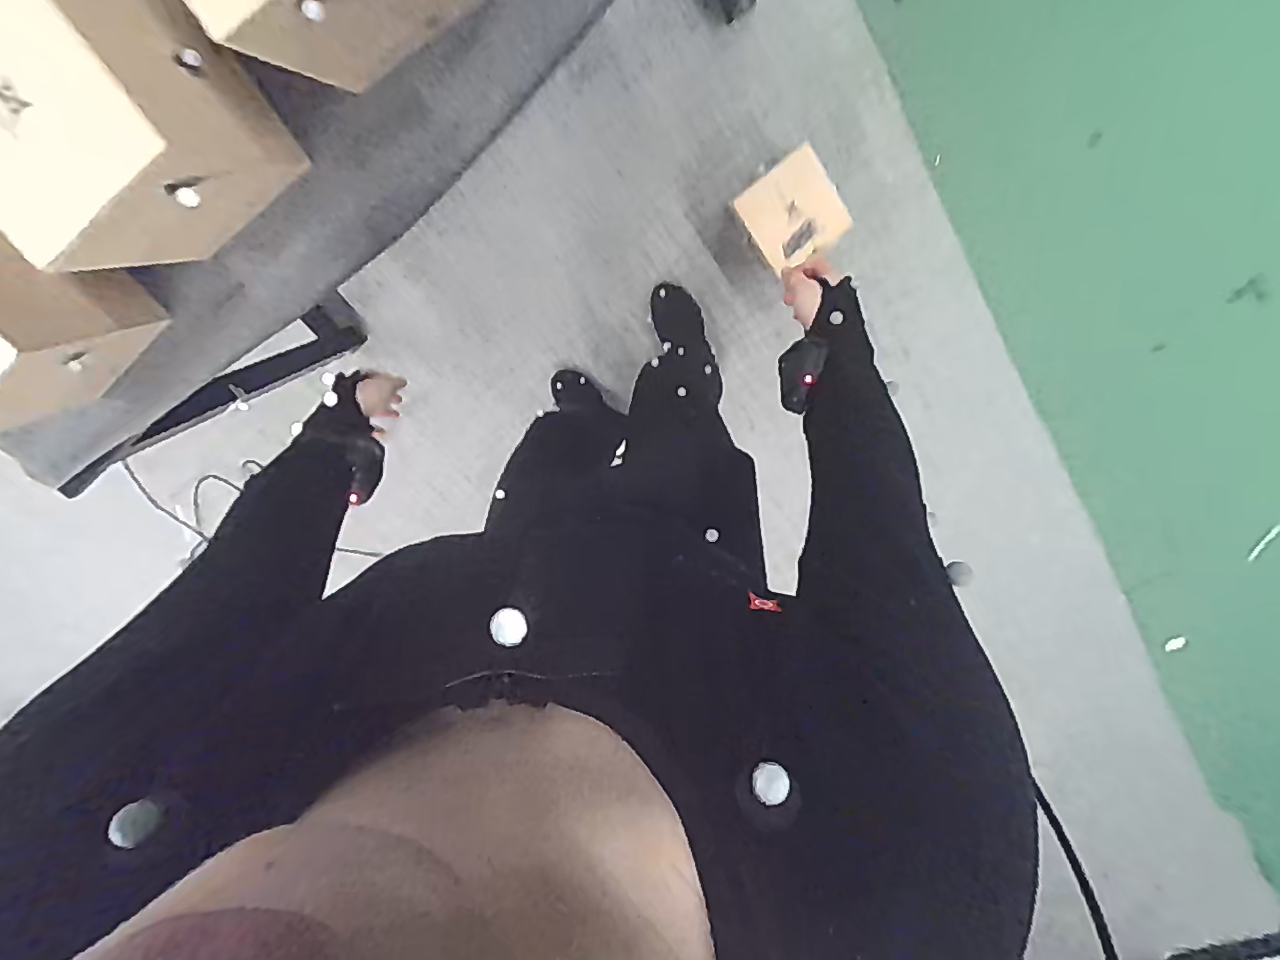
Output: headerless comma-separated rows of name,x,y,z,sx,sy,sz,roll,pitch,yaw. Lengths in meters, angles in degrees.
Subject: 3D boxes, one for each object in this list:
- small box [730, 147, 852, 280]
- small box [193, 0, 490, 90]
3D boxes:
small box,0.299,-0.539,1.100,0.168,0.176,0.179,-33,109,19
small box,-0.237,-0.426,0.383,0.168,0.176,0.179,-22,111,15
